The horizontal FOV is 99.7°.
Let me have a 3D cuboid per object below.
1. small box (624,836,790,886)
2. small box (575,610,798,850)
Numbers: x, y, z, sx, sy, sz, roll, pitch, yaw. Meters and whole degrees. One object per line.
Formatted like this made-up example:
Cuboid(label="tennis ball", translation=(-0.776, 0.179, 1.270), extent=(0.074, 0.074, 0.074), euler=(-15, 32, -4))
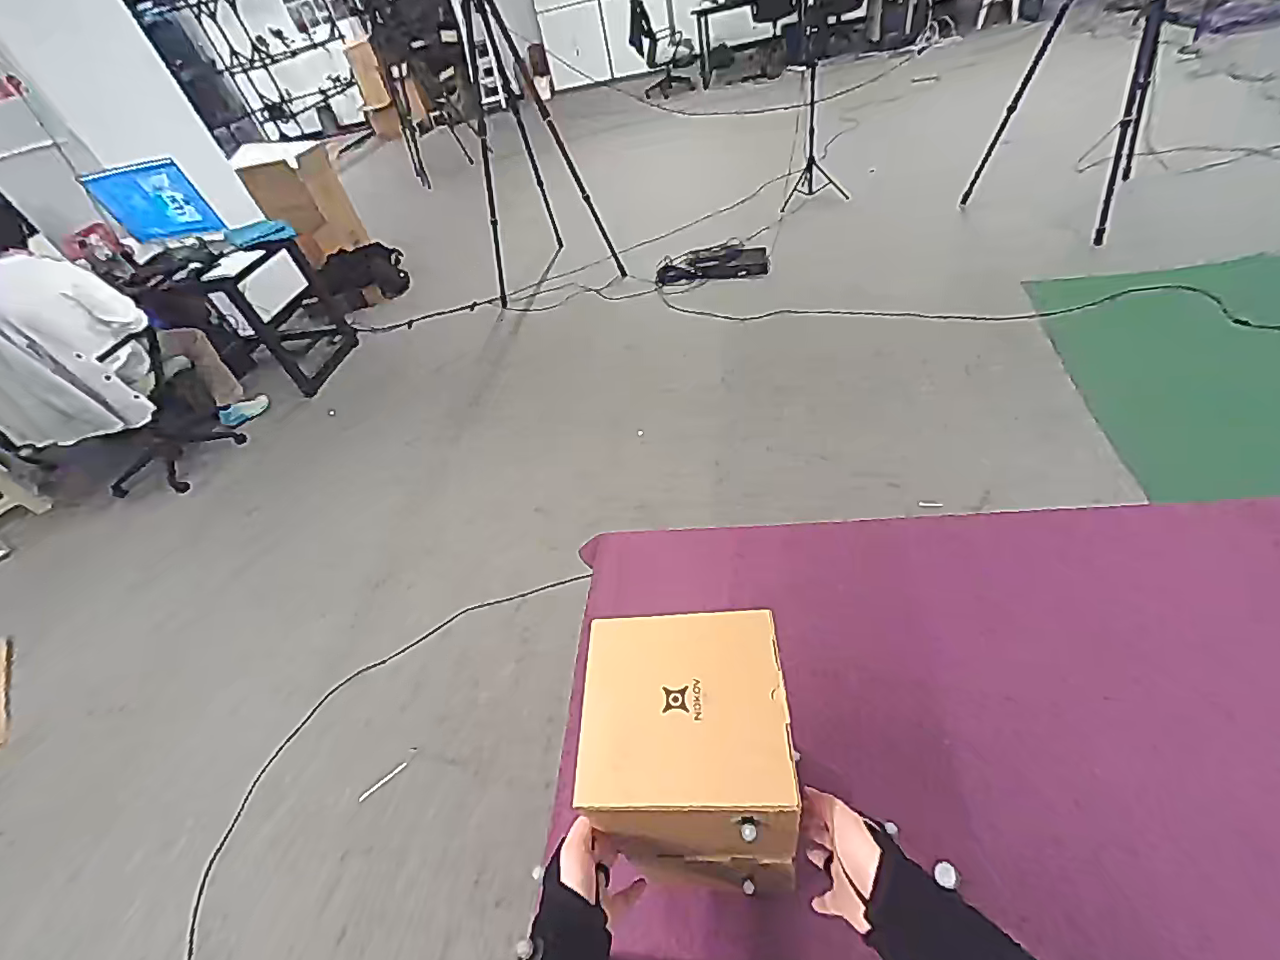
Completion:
Cuboid(label="small box", translation=(0.084, 0.357, 0.635), extent=(0.168, 0.176, 0.179), euler=(-4, 45, 10))
Cuboid(label="small box", translation=(0.050, 0.244, 0.522), extent=(0.179, 0.176, 0.168), euler=(-5, 46, 8))
